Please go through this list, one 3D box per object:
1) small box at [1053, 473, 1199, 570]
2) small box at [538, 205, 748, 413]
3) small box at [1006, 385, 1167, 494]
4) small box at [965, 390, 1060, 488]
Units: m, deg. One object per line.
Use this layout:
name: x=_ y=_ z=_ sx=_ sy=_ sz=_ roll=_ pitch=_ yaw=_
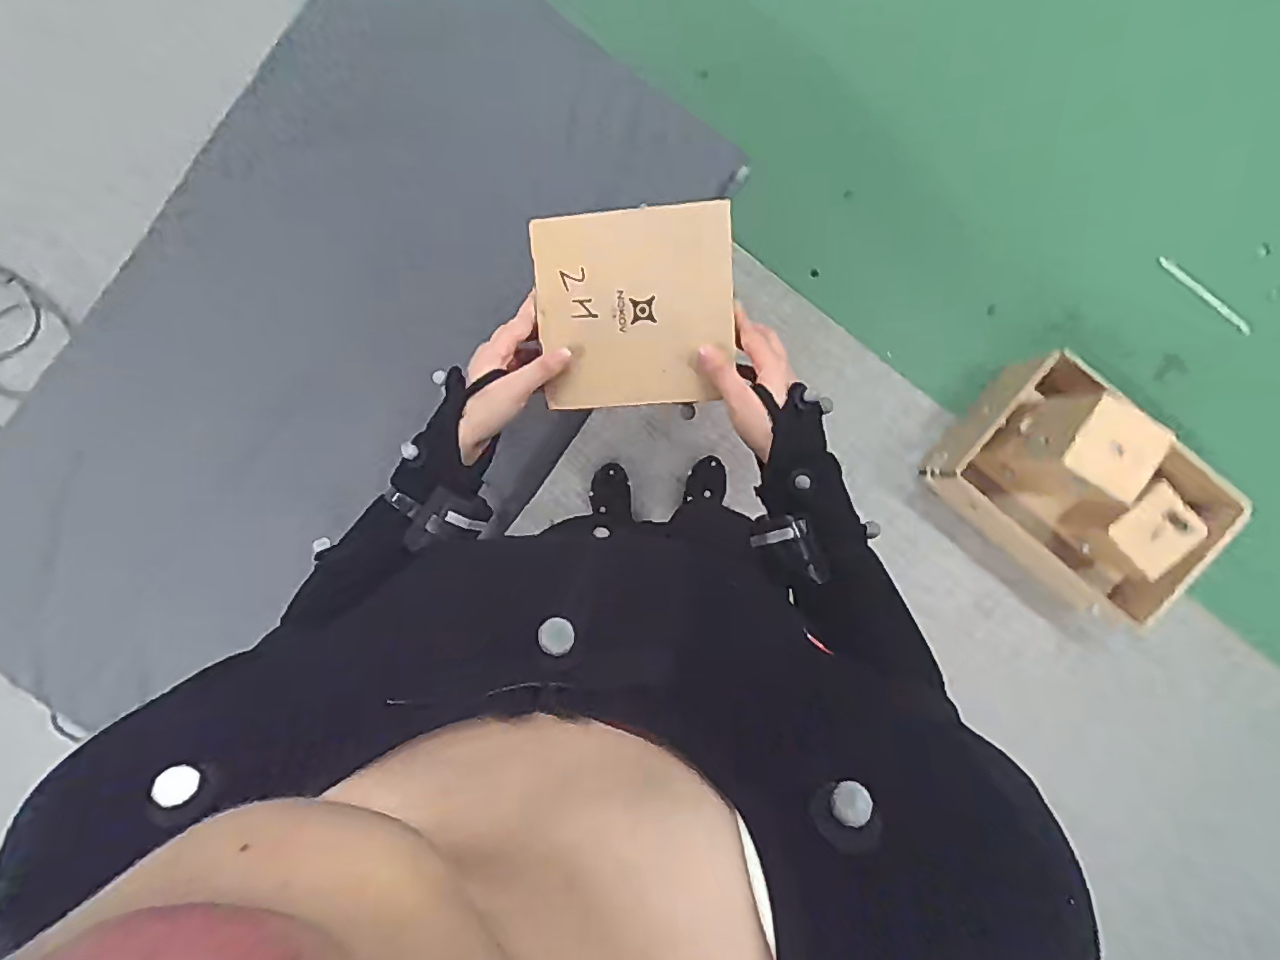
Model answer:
small box: x=1.206 y=0.092 z=1.357 sx=0.179 sy=0.176 sz=0.168 roll=-44 pitch=92 yaw=4
small box: x=0.010 y=-0.157 z=0.538 sx=0.179 sy=0.176 sz=0.168 roll=-2 pitch=100 yaw=6
small box: x=0.957 y=-0.088 z=1.179 sx=0.179 sy=0.176 sz=0.168 roll=29 pitch=95 yaw=-4
small box: x=0.961 y=-0.098 z=1.343 sx=0.179 sy=0.176 sz=0.168 roll=40 pitch=94 yaw=-2
